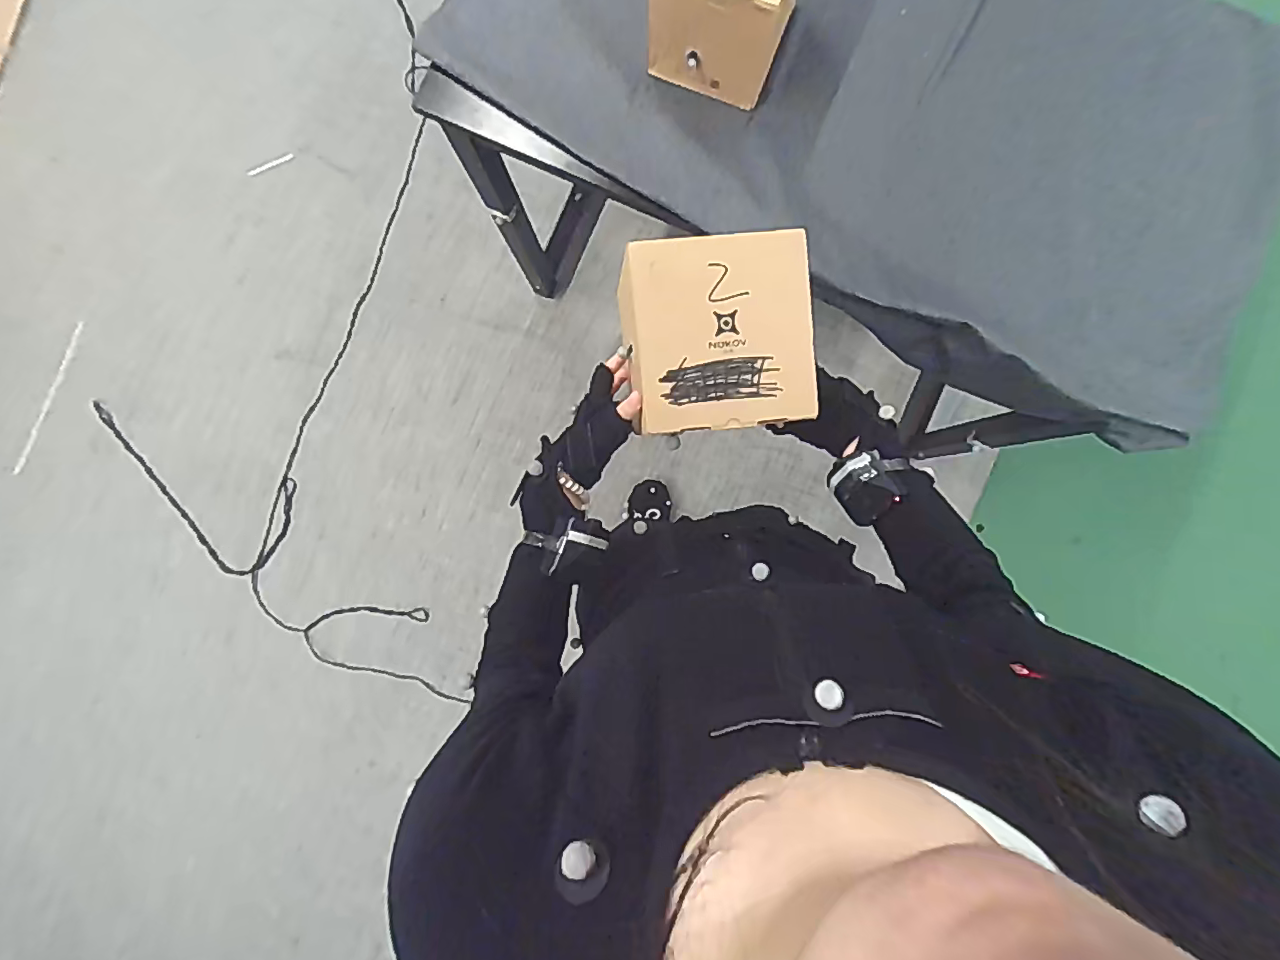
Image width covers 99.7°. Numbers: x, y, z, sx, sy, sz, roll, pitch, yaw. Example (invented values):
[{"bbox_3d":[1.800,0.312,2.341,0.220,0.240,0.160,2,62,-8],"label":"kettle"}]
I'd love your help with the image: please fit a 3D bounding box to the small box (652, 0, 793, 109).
[{"bbox_3d":[0.118,-0.656,0.722,0.168,0.176,0.179,22,89,1],"label":"small box"}]
